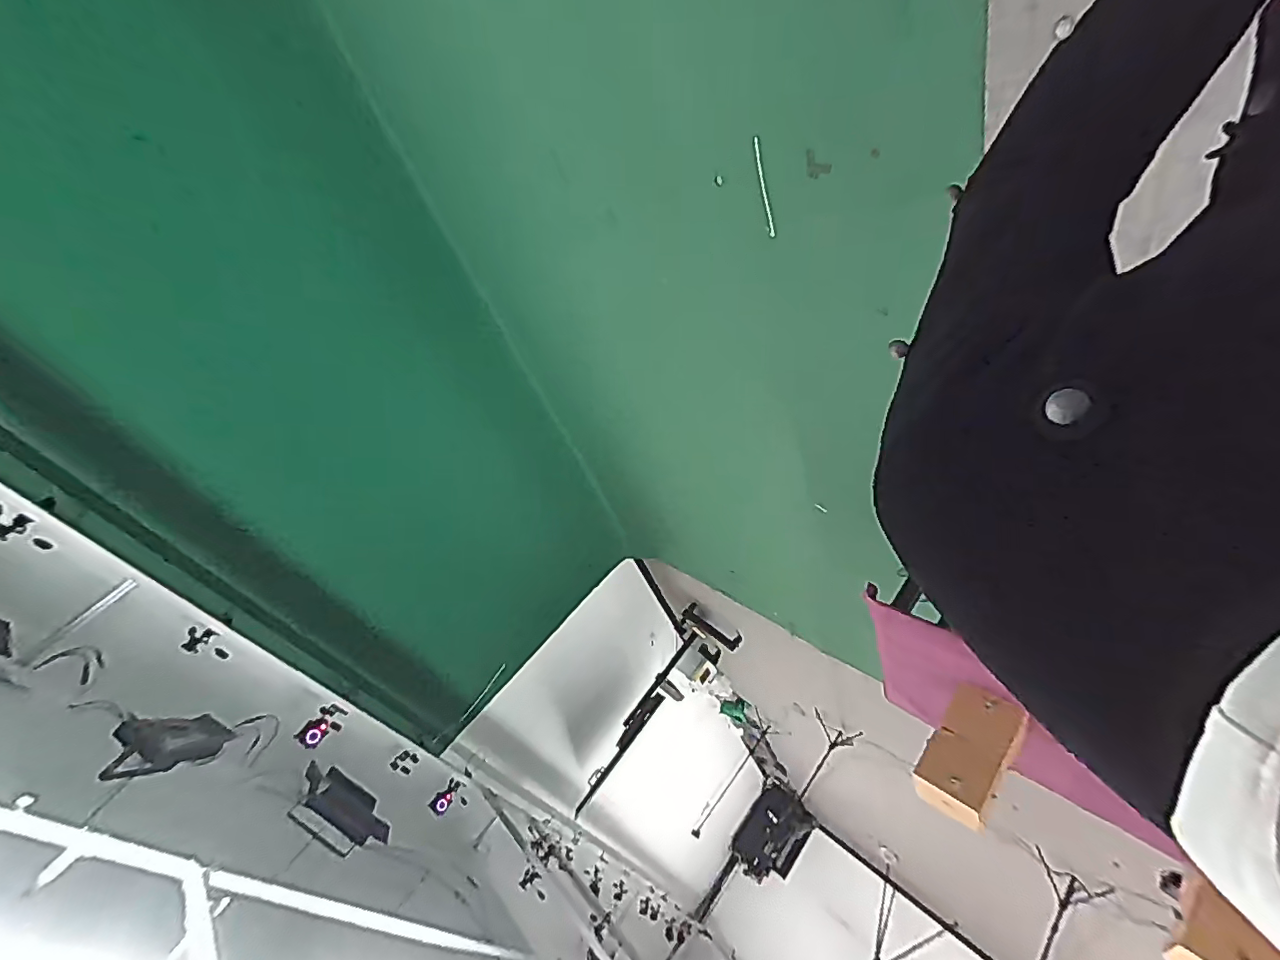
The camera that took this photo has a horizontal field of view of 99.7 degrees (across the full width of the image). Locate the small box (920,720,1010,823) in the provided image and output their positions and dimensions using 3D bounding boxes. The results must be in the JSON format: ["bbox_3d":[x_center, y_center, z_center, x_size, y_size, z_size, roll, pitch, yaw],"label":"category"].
[{"bbox_3d":[0.927,0.826,1.544,0.179,0.176,0.168,23,149,44],"label":"small box"}]

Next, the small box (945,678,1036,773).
[{"bbox_3d":[1.034,0.716,1.601,0.179,0.176,0.168,22,150,45],"label":"small box"}]

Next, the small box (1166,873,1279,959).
[{"bbox_3d":[1.303,0.996,1.174,0.179,0.176,0.168,23,150,44],"label":"small box"}]

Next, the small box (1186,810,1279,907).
[{"bbox_3d":[1.411,0.891,1.233,0.179,0.176,0.168,24,151,44],"label":"small box"}]
